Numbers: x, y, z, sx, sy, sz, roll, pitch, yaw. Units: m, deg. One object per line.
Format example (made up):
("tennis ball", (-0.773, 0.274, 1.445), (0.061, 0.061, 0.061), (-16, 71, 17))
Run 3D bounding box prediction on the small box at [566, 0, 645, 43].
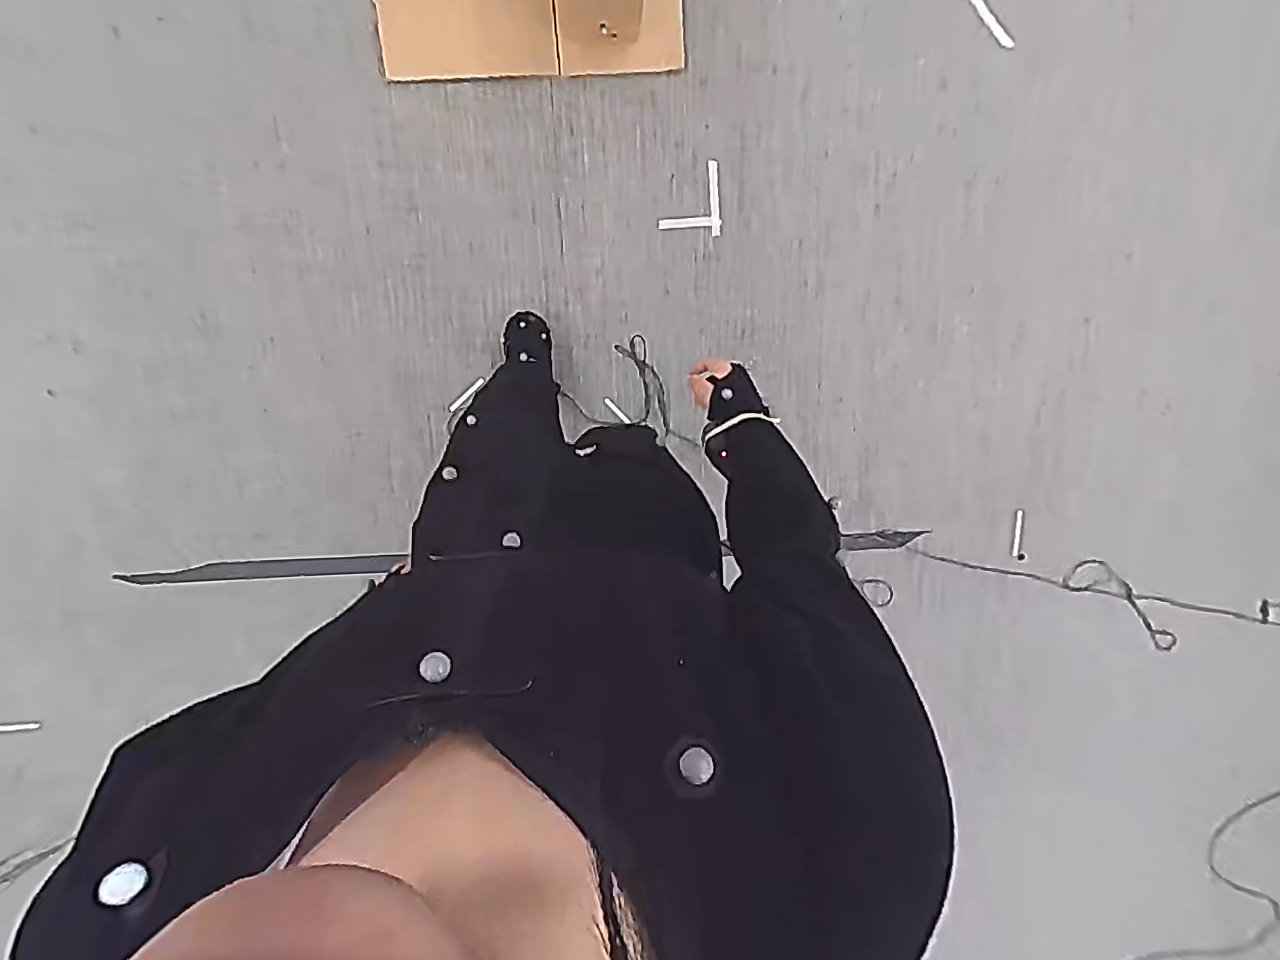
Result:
("small box", (-0.079, -1.085, 1.158), (0.168, 0.176, 0.179), (-4, 103, -3))
